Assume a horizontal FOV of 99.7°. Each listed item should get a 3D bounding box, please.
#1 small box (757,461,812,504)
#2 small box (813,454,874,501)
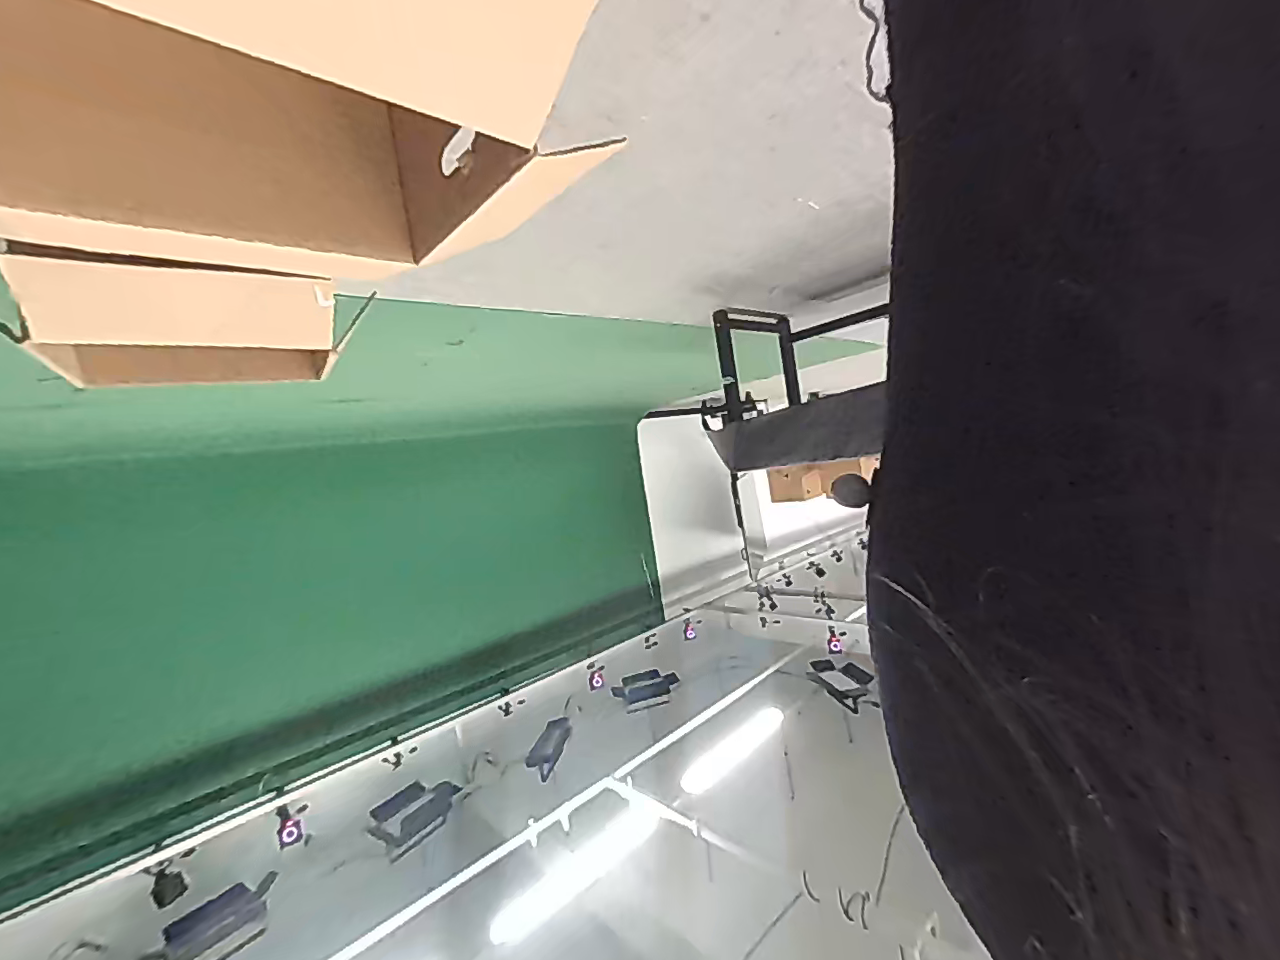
[{"bbox_3d":[0.644,0.009,2.408,0.168,0.176,0.179,-7,-178,44],"label":"small box"},{"bbox_3d":[0.837,-0.013,2.232,0.168,0.176,0.179,-10,-177,-40],"label":"small box"}]
